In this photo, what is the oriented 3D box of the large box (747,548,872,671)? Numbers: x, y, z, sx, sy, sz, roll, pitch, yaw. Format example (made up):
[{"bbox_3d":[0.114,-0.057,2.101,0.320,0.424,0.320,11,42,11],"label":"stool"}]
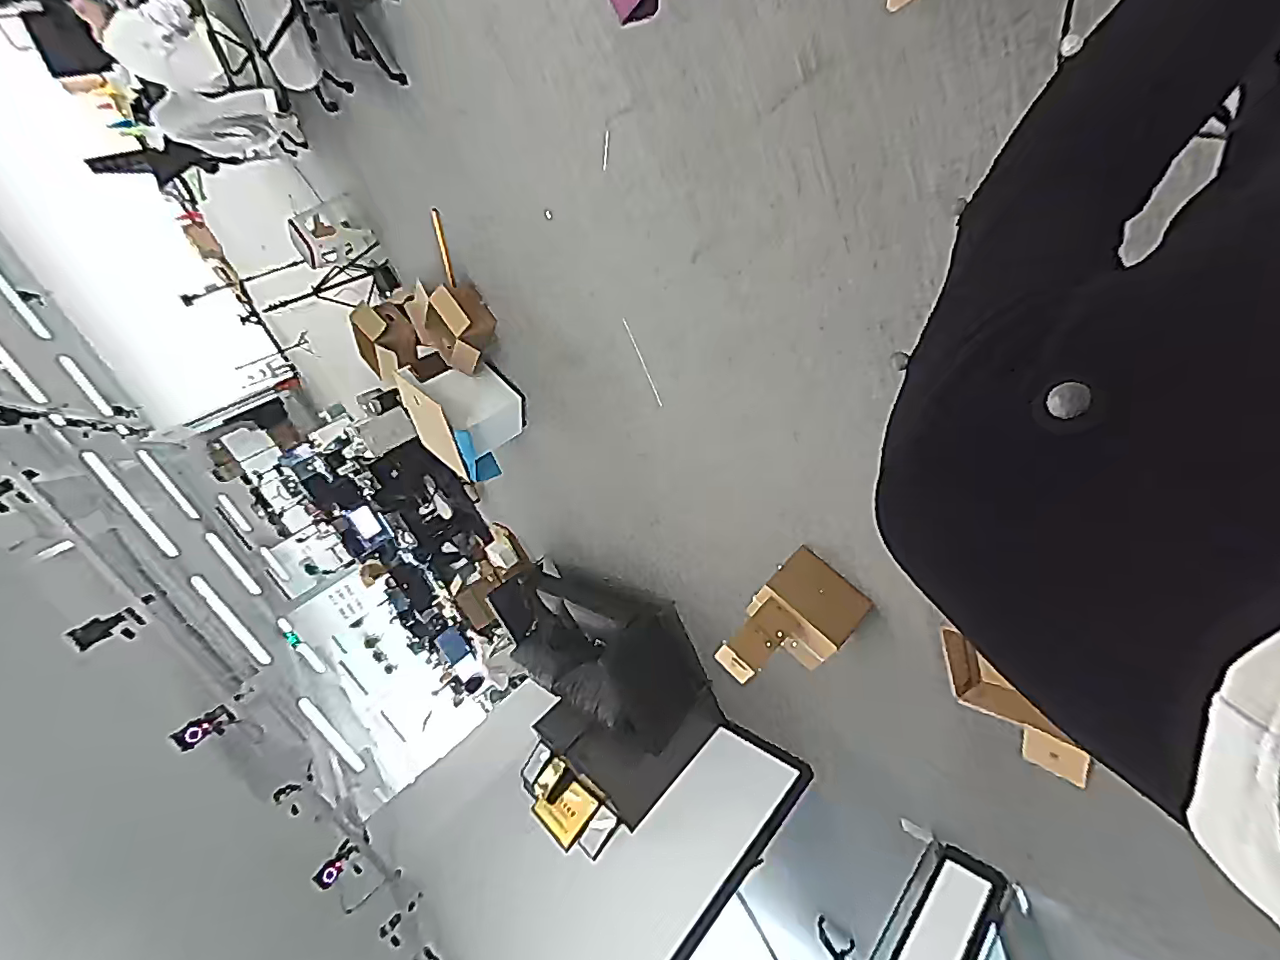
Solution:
[{"bbox_3d":[0.780,0.600,2.526,0.408,0.320,0.320,41,149,20],"label":"large box"}]

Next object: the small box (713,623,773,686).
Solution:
[{"bbox_3d":[0.447,0.745,2.319,0.168,0.176,0.179,42,149,19],"label":"small box"}]

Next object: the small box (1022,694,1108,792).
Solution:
[{"bbox_3d":[1.317,0.810,1.678,0.168,0.176,0.179,19,135,49],"label":"small box"}]
